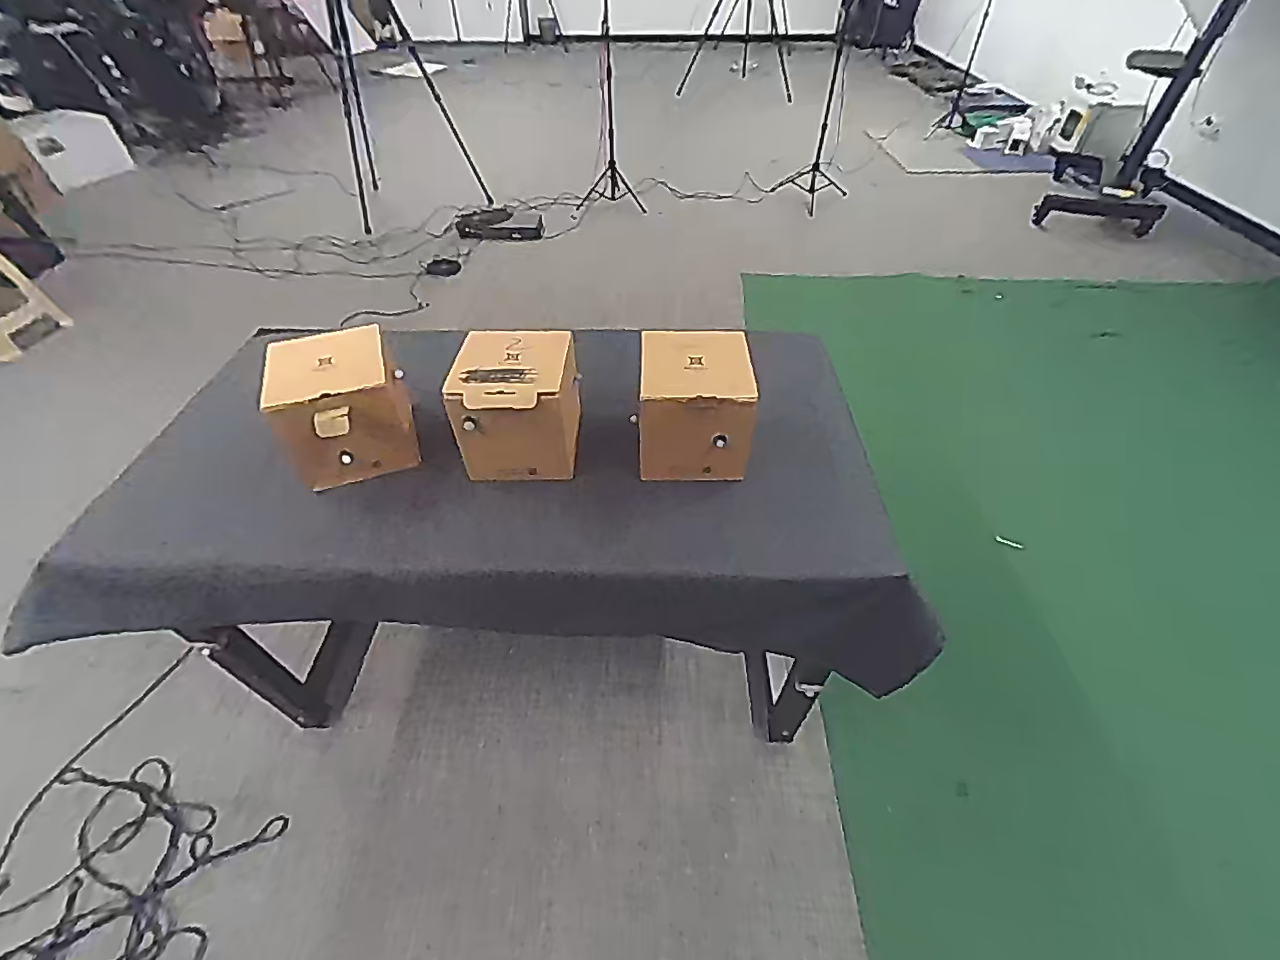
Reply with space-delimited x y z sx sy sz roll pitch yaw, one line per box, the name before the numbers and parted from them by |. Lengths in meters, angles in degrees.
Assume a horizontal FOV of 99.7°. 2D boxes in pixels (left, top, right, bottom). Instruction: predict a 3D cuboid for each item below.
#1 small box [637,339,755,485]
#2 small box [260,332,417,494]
small box | 0.080 -0.106 0.857 0.168 0.176 0.179 1 45 0
small box | -0.468 -0.107 0.861 0.168 0.176 0.179 -16 48 -15
